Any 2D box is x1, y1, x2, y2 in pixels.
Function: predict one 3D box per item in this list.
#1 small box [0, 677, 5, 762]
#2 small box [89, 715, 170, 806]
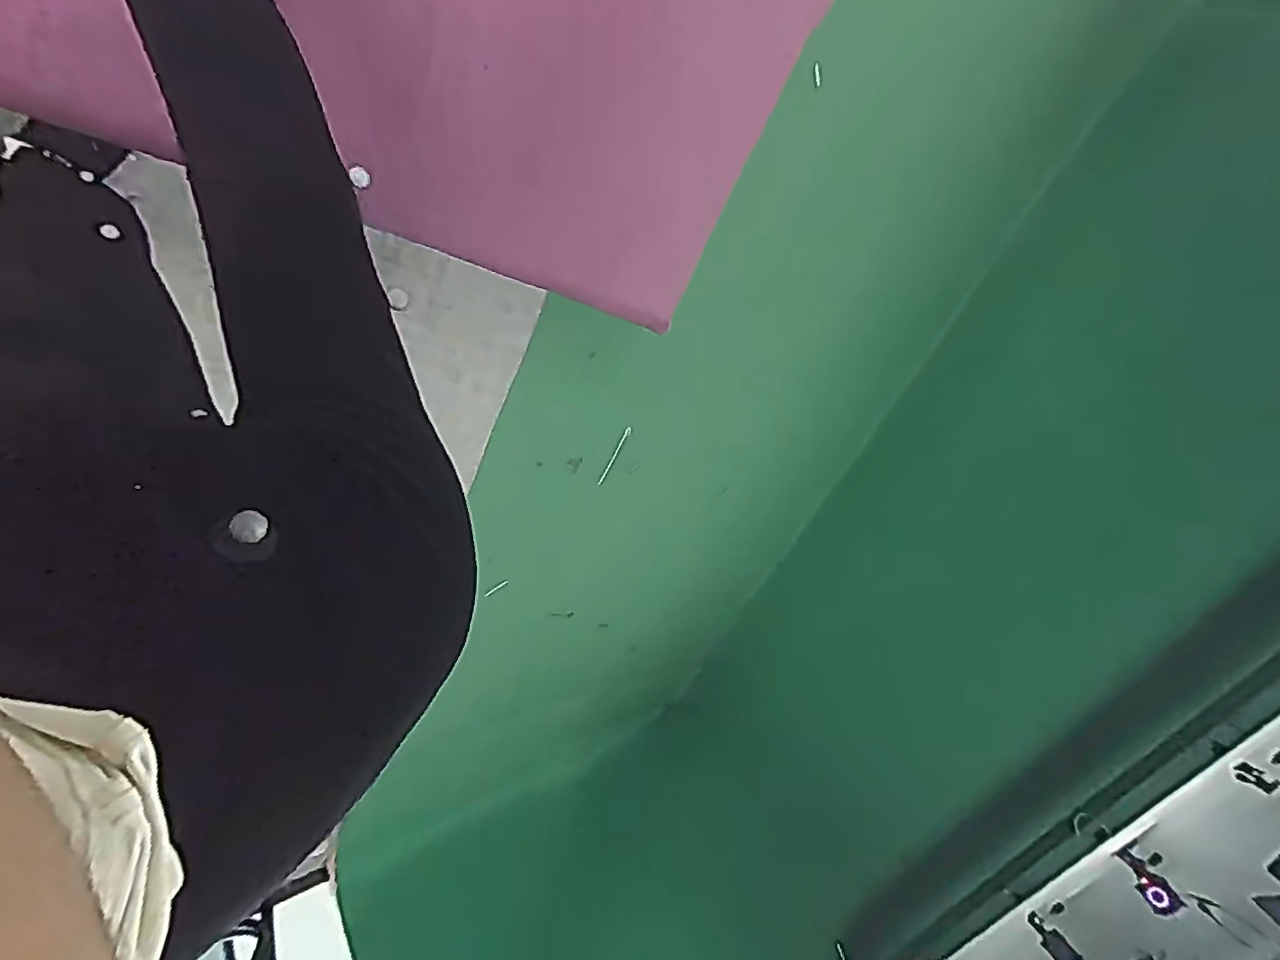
[{"bbox_3d":[-1.749,0.628,1.370,0.179,0.176,0.168,2,124,-46],"label":"small box"},{"bbox_3d":[-1.654,0.900,1.748,0.179,0.176,0.168,2,125,-48],"label":"small box"}]
